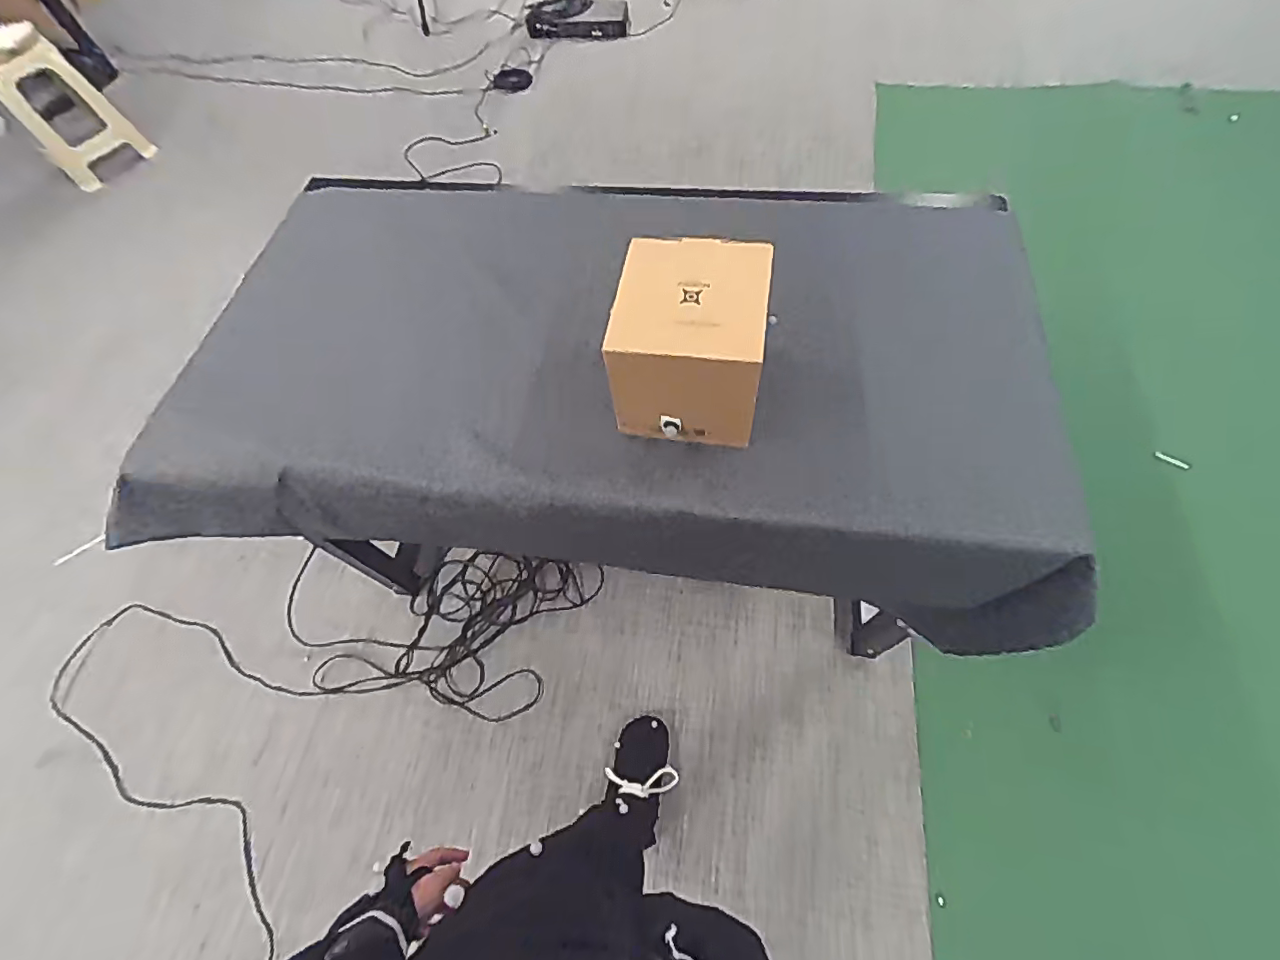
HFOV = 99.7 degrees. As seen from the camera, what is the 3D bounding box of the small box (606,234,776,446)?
[{"bbox_3d":[0.065,-0.163,0.646,0.168,0.176,0.179,6,63,9],"label":"small box"}]
